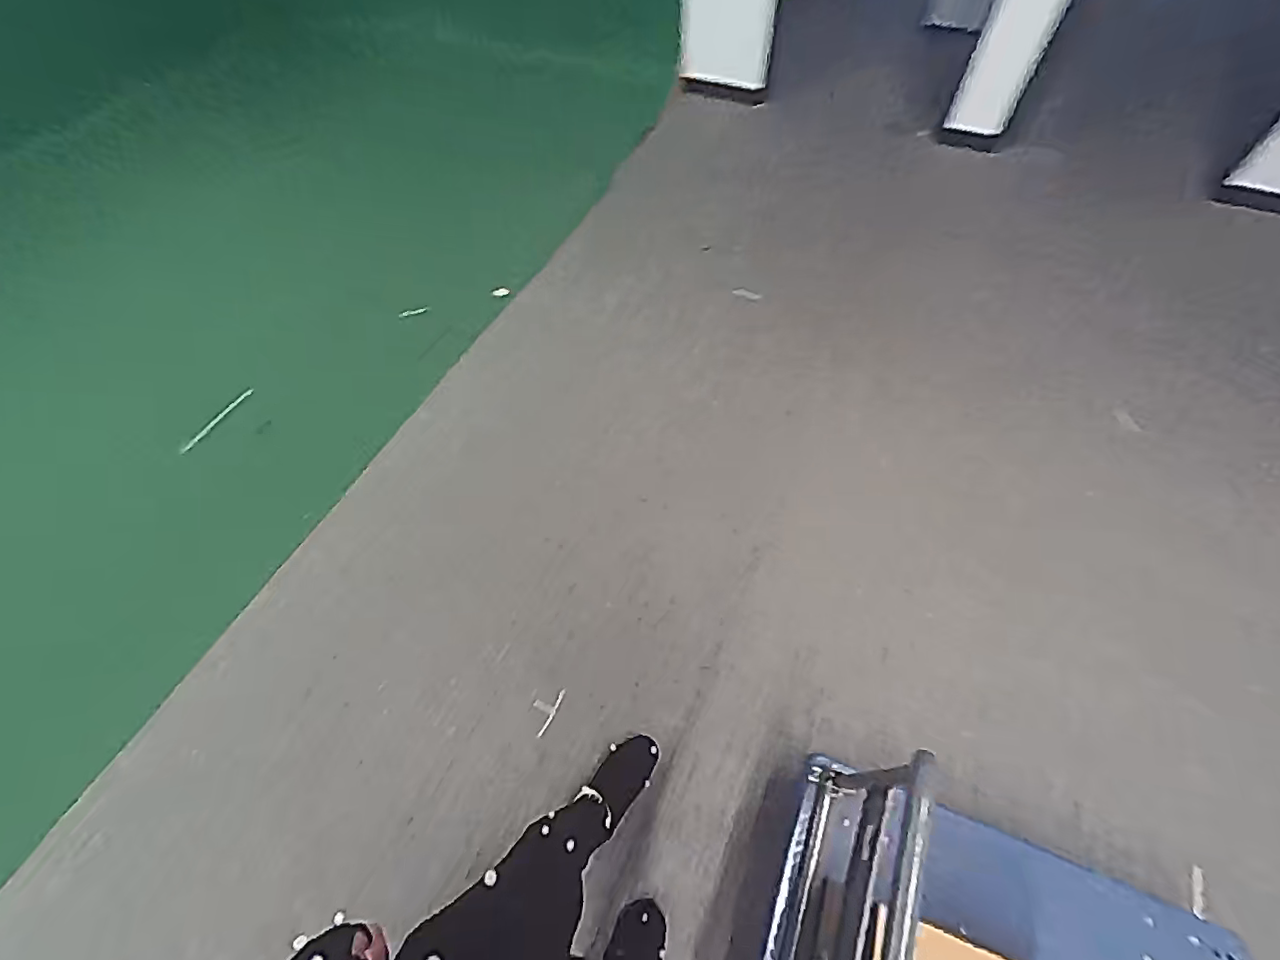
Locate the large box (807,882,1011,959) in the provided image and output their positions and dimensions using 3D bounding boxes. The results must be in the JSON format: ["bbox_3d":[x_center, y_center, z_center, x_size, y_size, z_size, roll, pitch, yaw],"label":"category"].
[{"bbox_3d":[0.501,0.929,0.880,0.408,0.320,0.320,19,63,11],"label":"large box"}]
